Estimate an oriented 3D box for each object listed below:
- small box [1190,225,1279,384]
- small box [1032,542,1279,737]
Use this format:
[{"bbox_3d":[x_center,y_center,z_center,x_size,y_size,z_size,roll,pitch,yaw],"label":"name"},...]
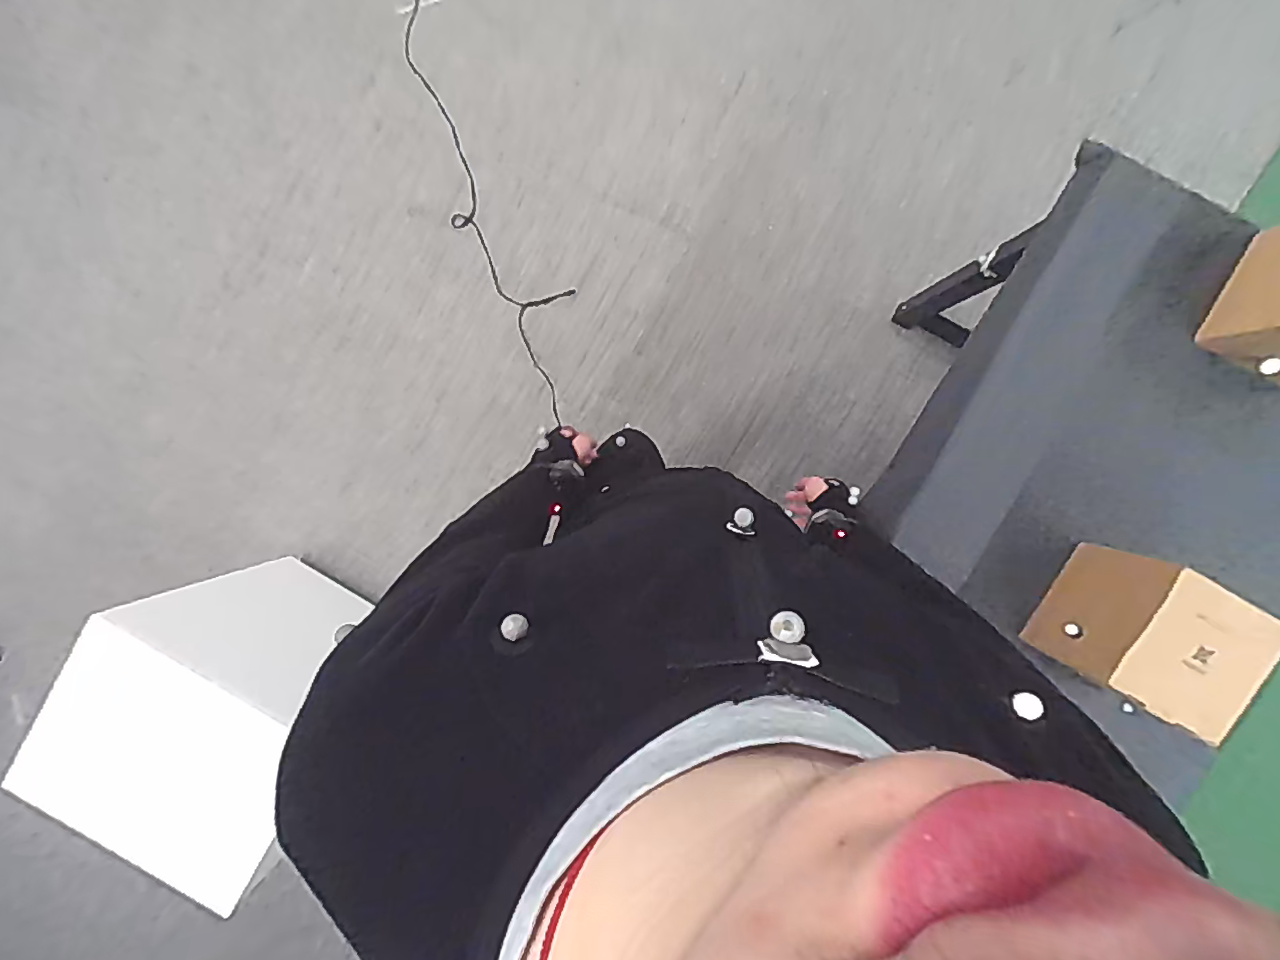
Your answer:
[{"bbox_3d":[0.919,-0.246,0.726,0.168,0.176,0.179,26,94,-2],"label":"small box"},{"bbox_3d":[0.700,0.207,0.751,0.168,0.176,0.179,28,91,-3],"label":"small box"}]
